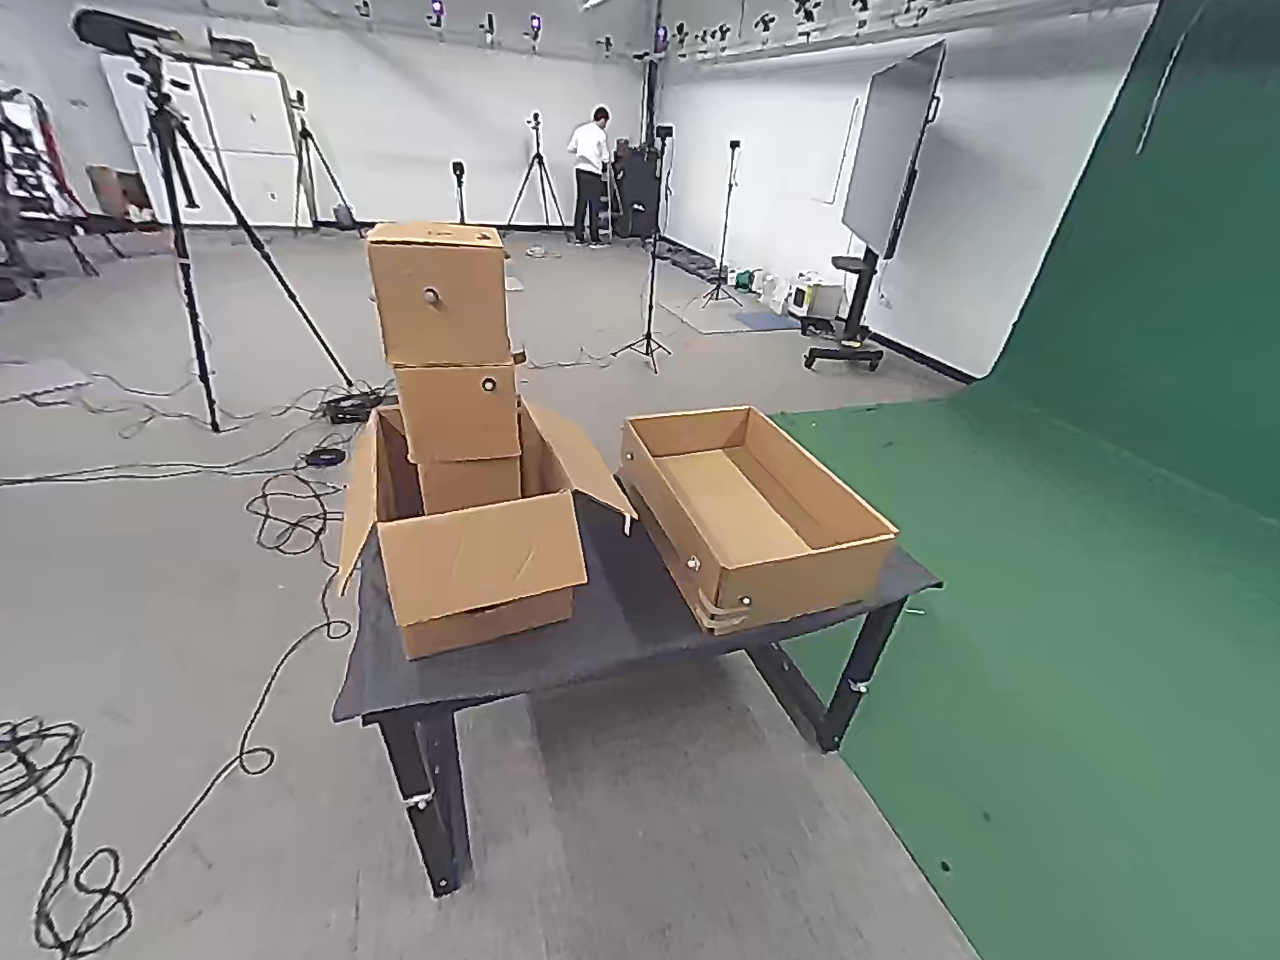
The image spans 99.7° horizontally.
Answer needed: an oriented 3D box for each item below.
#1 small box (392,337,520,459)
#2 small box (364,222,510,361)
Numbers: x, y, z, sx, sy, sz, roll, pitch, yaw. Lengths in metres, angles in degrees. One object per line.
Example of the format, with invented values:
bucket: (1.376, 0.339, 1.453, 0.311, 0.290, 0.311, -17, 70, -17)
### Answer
small box: (-0.300, -0.146, 0.906, 0.179, 0.176, 0.168, -5, 35, -15)
small box: (-0.296, -0.285, 0.818, 0.179, 0.176, 0.168, -6, 35, -16)
